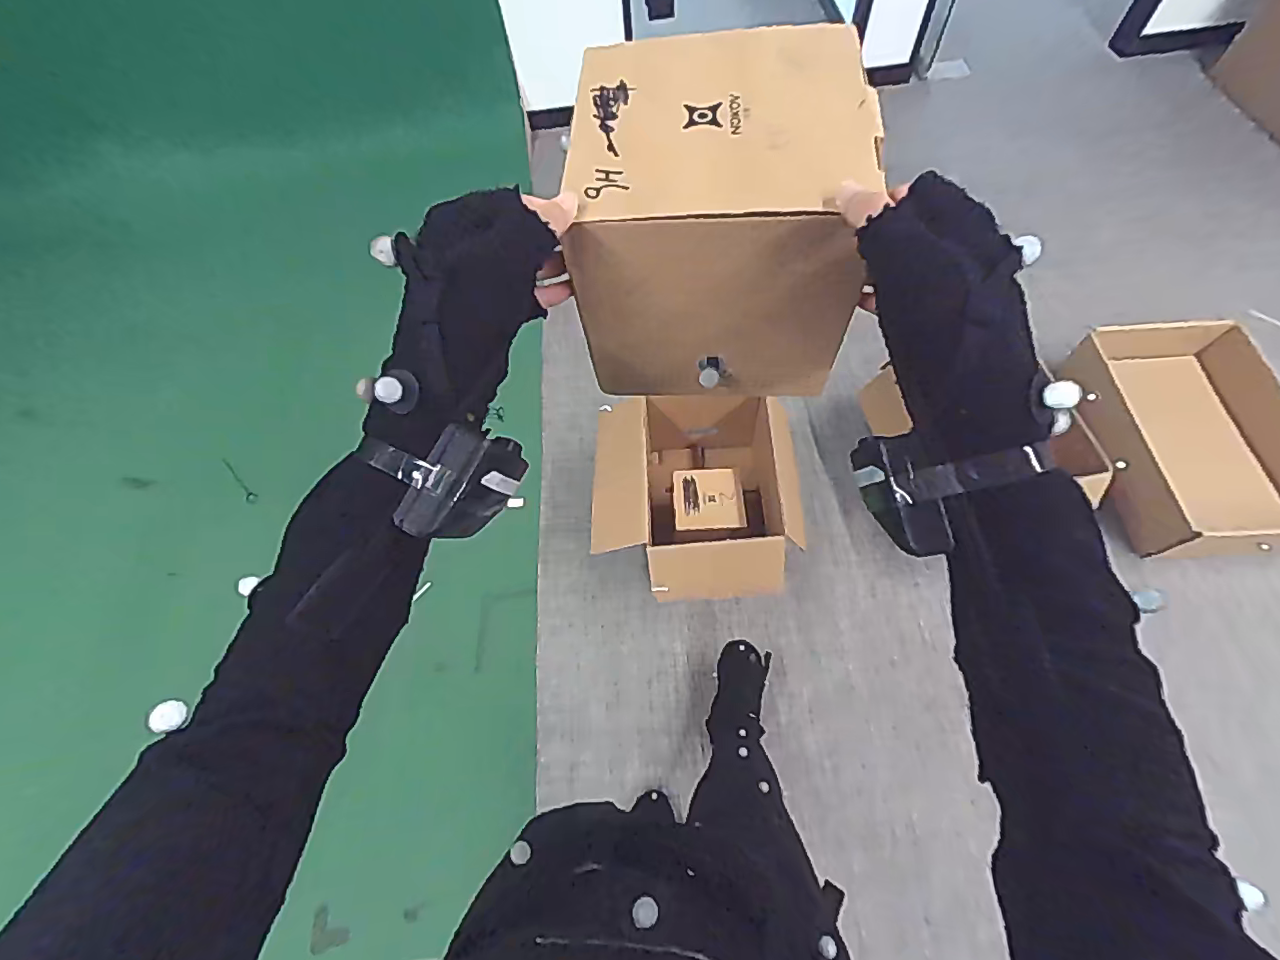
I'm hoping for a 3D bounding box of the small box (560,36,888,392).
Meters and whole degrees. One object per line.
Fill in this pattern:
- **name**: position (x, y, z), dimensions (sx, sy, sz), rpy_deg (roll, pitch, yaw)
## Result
- **small box**: position (0.053, -0.177, 0.391), dimensions (0.179, 0.176, 0.168), rpy_deg (2, 64, 5)
